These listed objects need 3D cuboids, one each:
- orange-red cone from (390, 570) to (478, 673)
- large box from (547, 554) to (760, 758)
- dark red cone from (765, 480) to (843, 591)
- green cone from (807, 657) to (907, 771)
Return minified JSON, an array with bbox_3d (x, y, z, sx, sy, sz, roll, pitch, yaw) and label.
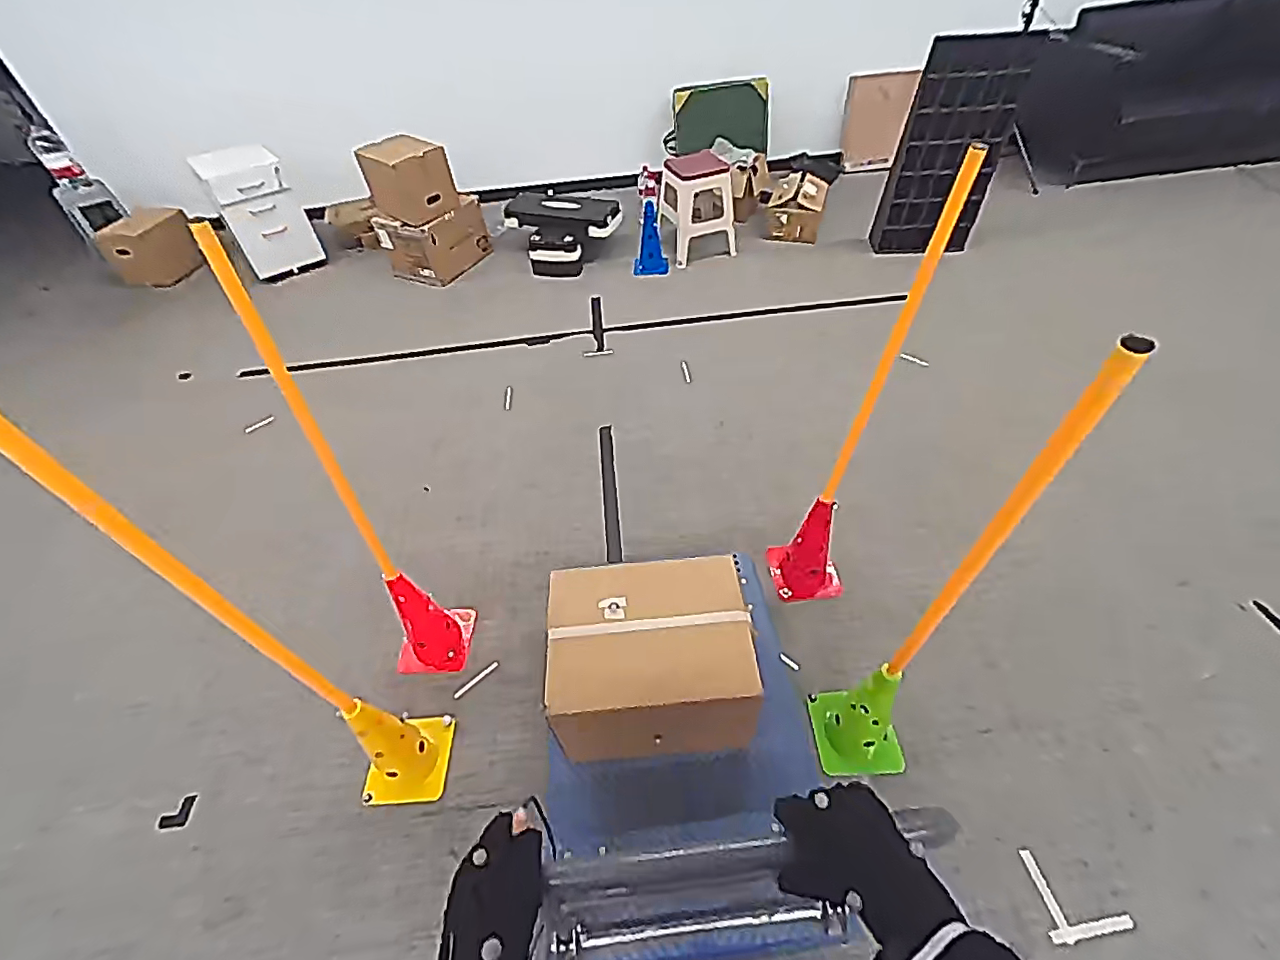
[{"bbox_3d":[-0.608,0.362,1.495,0.198,0.360,0.199,-1,46,3],"label":"orange-red cone"},{"bbox_3d":[0.025,0.397,1.206,0.408,0.320,0.320,-6,47,0],"label":"large box"},{"bbox_3d":[0.503,0.146,1.568,0.201,0.394,0.202,-6,48,-3],"label":"dark red cone"},{"bbox_3d":[0.536,0.512,1.251,0.202,0.368,0.200,-3,47,0],"label":"green cone"}]
